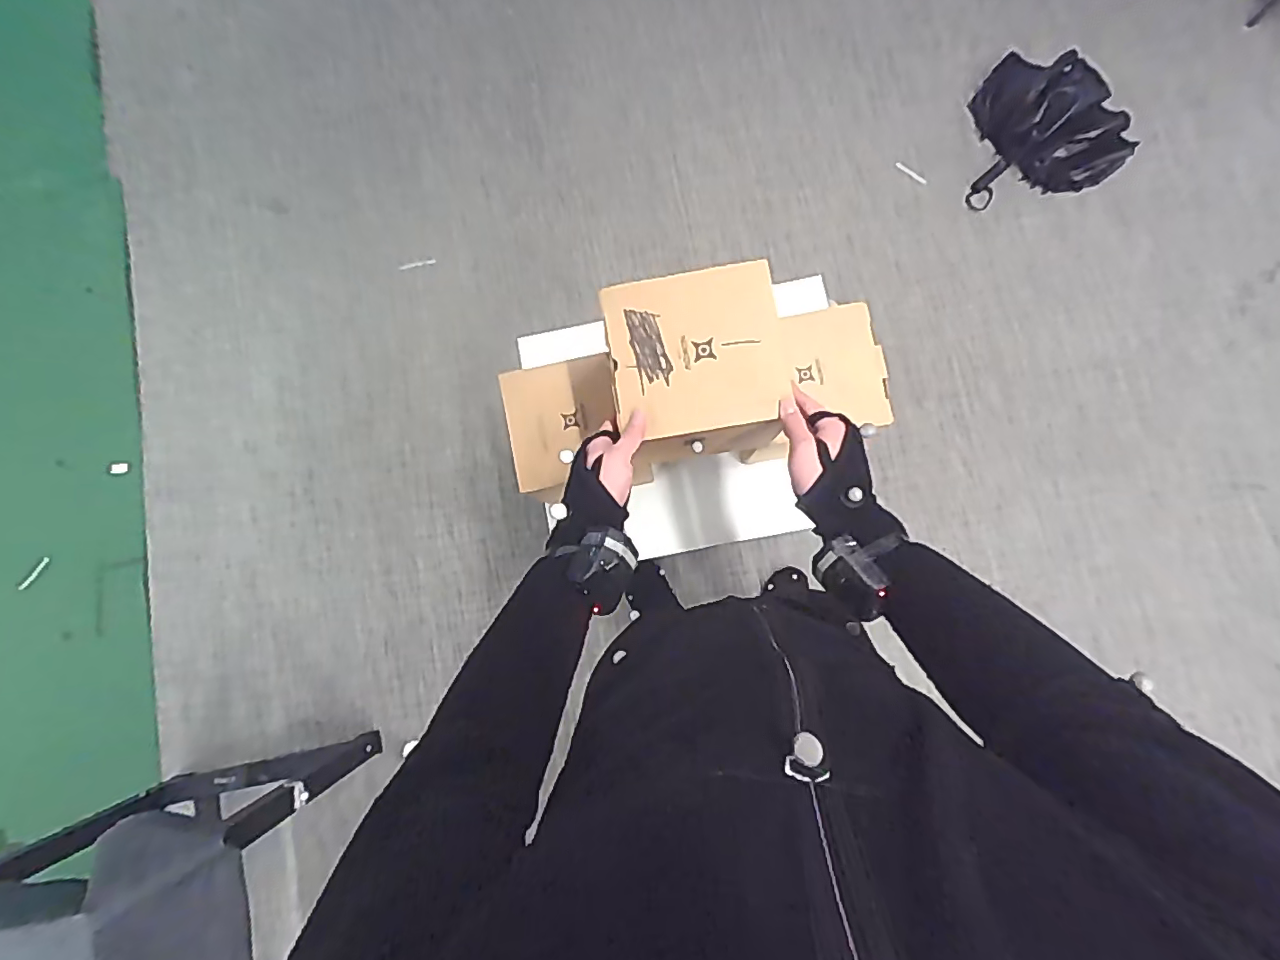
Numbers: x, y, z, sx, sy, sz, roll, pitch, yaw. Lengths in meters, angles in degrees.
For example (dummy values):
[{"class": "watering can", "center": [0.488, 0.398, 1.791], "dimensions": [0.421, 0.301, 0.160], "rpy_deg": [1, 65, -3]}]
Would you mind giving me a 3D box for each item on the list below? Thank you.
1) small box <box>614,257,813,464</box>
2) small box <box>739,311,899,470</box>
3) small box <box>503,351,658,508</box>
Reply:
[{"class": "small box", "center": [0.072, -0.119, 0.607], "dimensions": [0.179, 0.176, 0.168], "rpy_deg": [-8, 82, -1]}, {"class": "small box", "center": [0.231, -0.117, 0.768], "dimensions": [0.179, 0.176, 0.168], "rpy_deg": [-9, 81, 1]}, {"class": "small box", "center": [-0.077, -0.063, 0.766], "dimensions": [0.179, 0.176, 0.168], "rpy_deg": [-12, 80, -1]}]
